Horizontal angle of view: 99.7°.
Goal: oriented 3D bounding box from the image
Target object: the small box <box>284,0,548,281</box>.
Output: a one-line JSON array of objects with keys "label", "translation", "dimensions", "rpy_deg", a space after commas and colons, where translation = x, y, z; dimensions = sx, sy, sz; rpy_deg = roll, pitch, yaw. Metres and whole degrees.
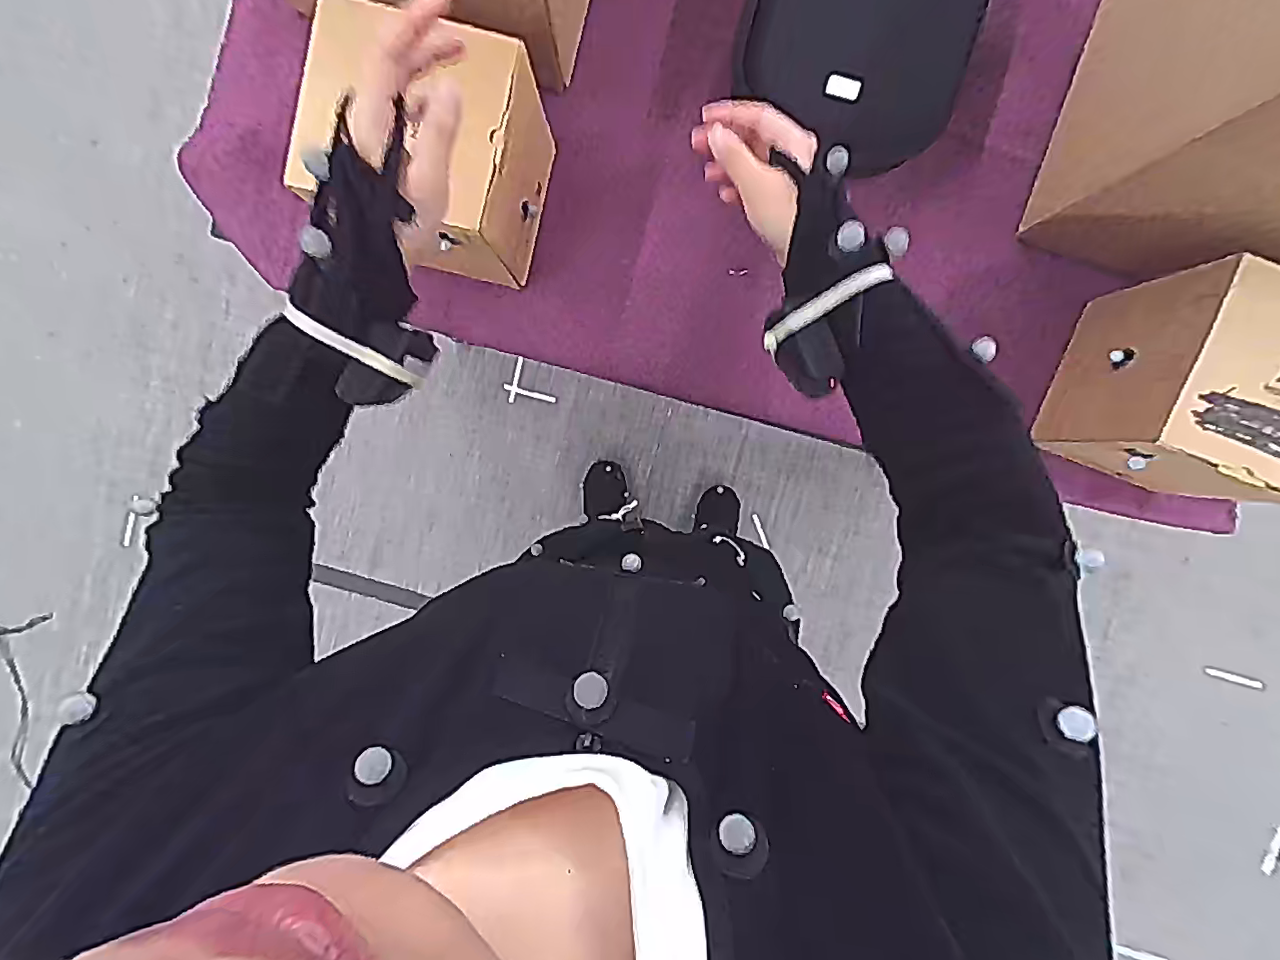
[{"label": "small box", "translation": [-0.204, -0.317, 0.540], "dimensions": [0.179, 0.176, 0.168], "rpy_deg": [13, 93, -2]}]

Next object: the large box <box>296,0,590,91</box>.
[{"label": "large box", "translation": [-0.175, -0.651, 0.443], "dimensions": [0.320, 0.320, 0.408], "rpy_deg": [14, 97, -2]}]
